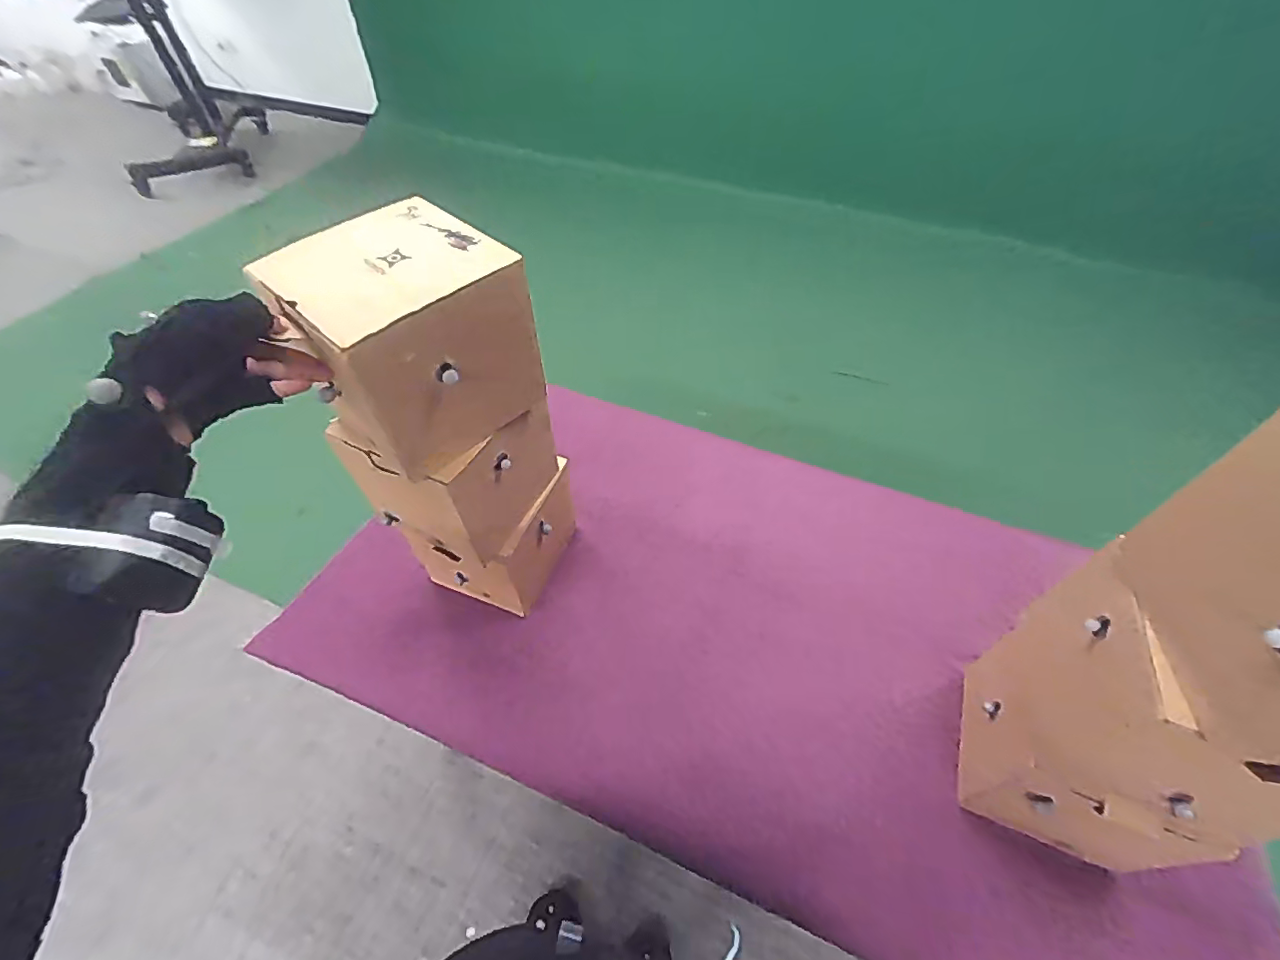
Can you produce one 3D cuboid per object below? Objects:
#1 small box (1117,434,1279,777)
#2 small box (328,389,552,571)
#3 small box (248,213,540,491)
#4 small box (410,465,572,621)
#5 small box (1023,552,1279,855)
[{"bbox_3d":[0.481,0.096,0.355,0.168,0.176,0.179,8,51,5],"label":"small box"},{"bbox_3d":[-0.222,-0.019,0.657,0.168,0.176,0.179,22,54,15],"label":"small box"},{"bbox_3d":[-0.219,-0.122,0.529,0.168,0.176,0.179,37,62,24],"label":"small box"},{"bbox_3d":[-0.209,0.075,0.793,0.168,0.176,0.179,18,54,13],"label":"small box"},{"bbox_3d":[0.474,0.199,0.482,0.168,0.176,0.179,16,52,13],"label":"small box"}]
